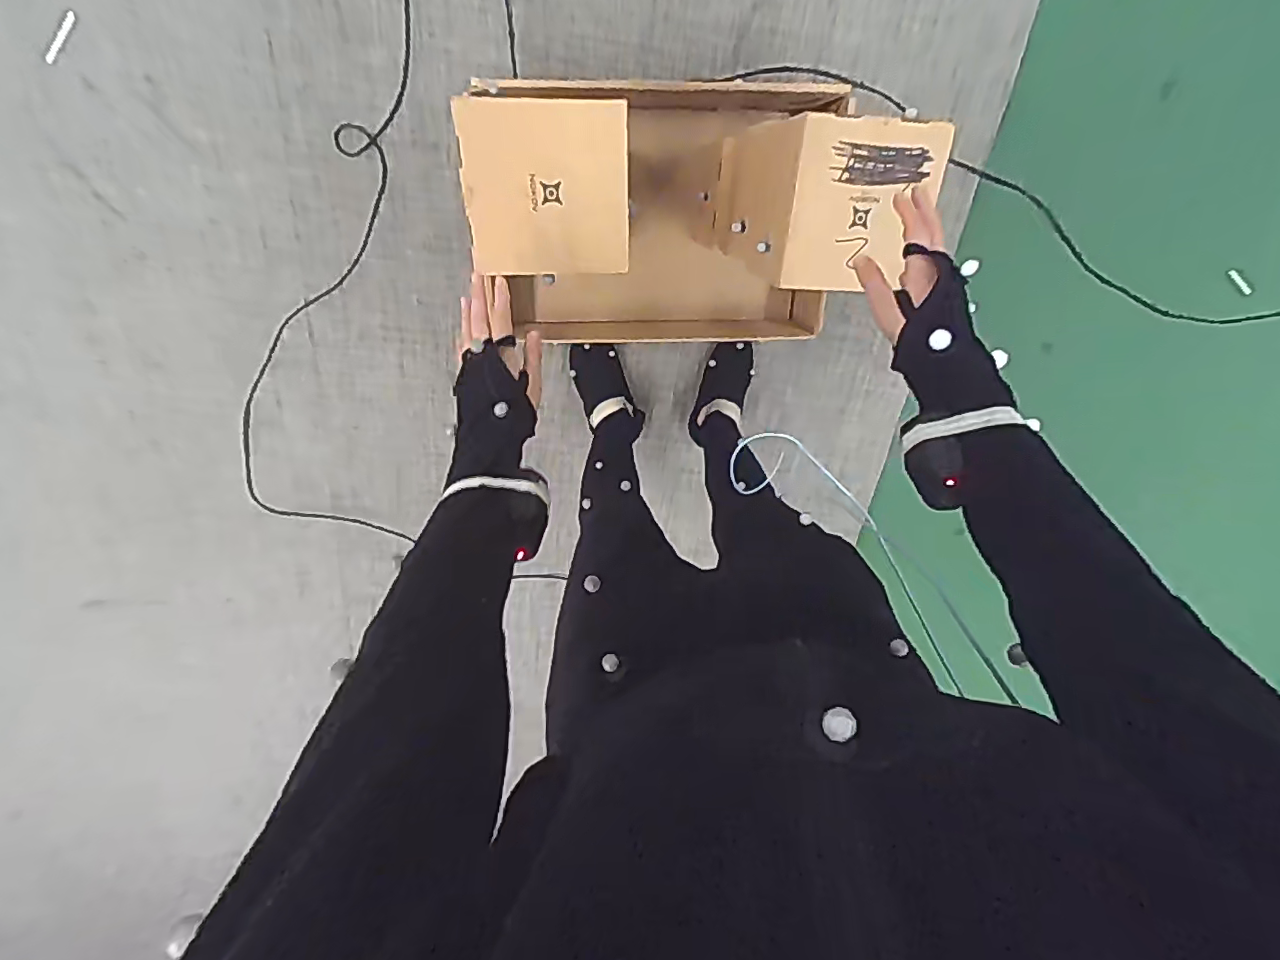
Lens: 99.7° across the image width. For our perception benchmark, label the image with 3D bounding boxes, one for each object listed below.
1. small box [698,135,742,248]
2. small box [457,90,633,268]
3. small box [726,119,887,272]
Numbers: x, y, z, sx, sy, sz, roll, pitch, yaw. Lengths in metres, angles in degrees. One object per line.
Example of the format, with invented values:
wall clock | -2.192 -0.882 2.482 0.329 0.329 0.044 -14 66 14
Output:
small box | 0.206 -0.498 0.959 0.179 0.176 0.168 3 117 -6
small box | -0.101 -0.351 0.641 0.179 0.176 0.168 -2 119 -3
small box | 0.234 -0.422 0.815 0.168 0.176 0.179 2 116 -7
